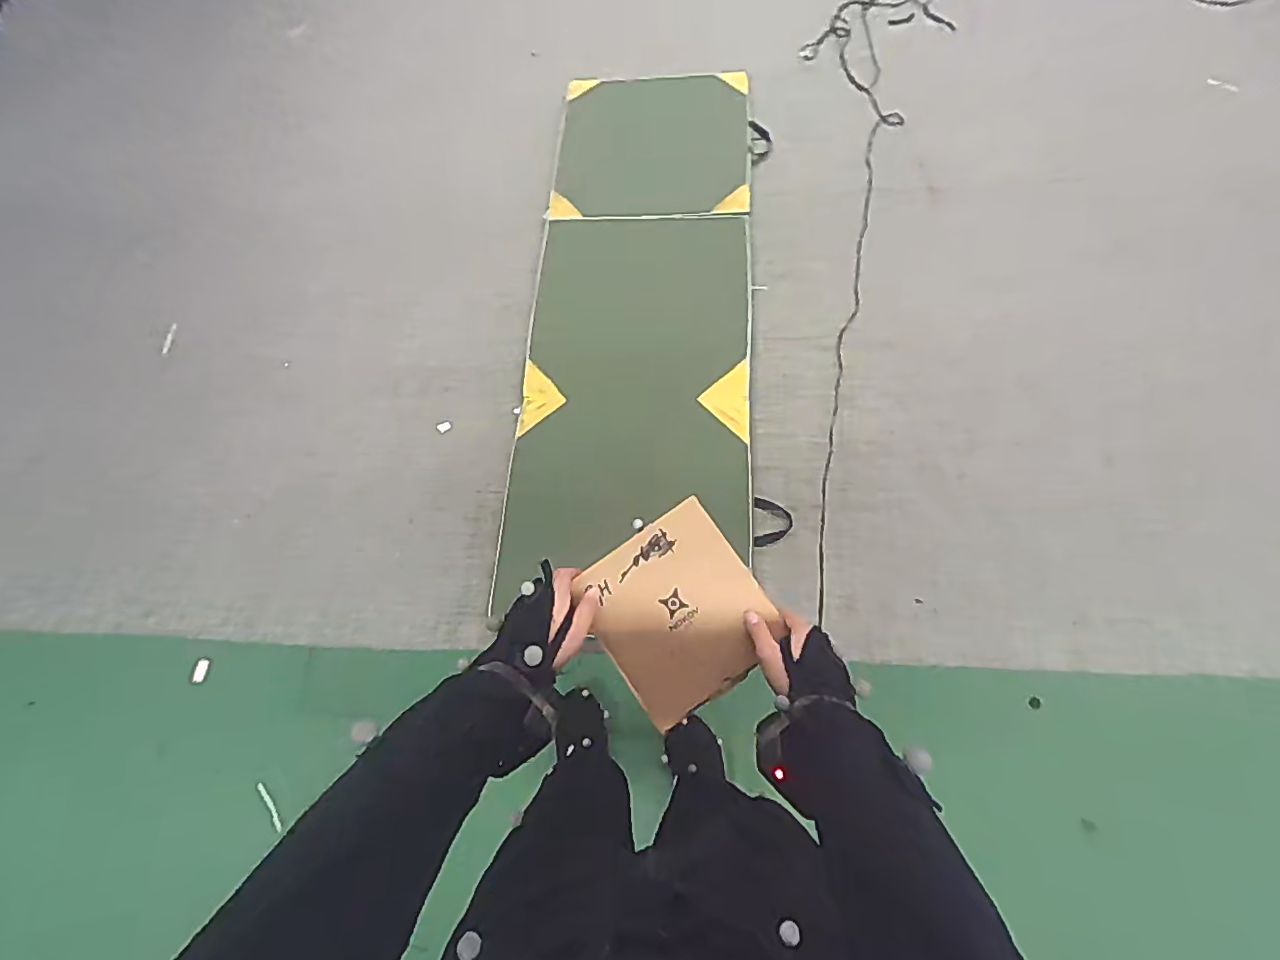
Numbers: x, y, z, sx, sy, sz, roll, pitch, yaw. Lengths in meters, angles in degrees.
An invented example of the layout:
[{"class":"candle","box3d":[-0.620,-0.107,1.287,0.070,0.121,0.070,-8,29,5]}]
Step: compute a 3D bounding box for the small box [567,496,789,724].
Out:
[{"class":"small box","box3d":[0.040,0.139,0.626,0.168,0.176,0.179,-34,82,-4]}]
